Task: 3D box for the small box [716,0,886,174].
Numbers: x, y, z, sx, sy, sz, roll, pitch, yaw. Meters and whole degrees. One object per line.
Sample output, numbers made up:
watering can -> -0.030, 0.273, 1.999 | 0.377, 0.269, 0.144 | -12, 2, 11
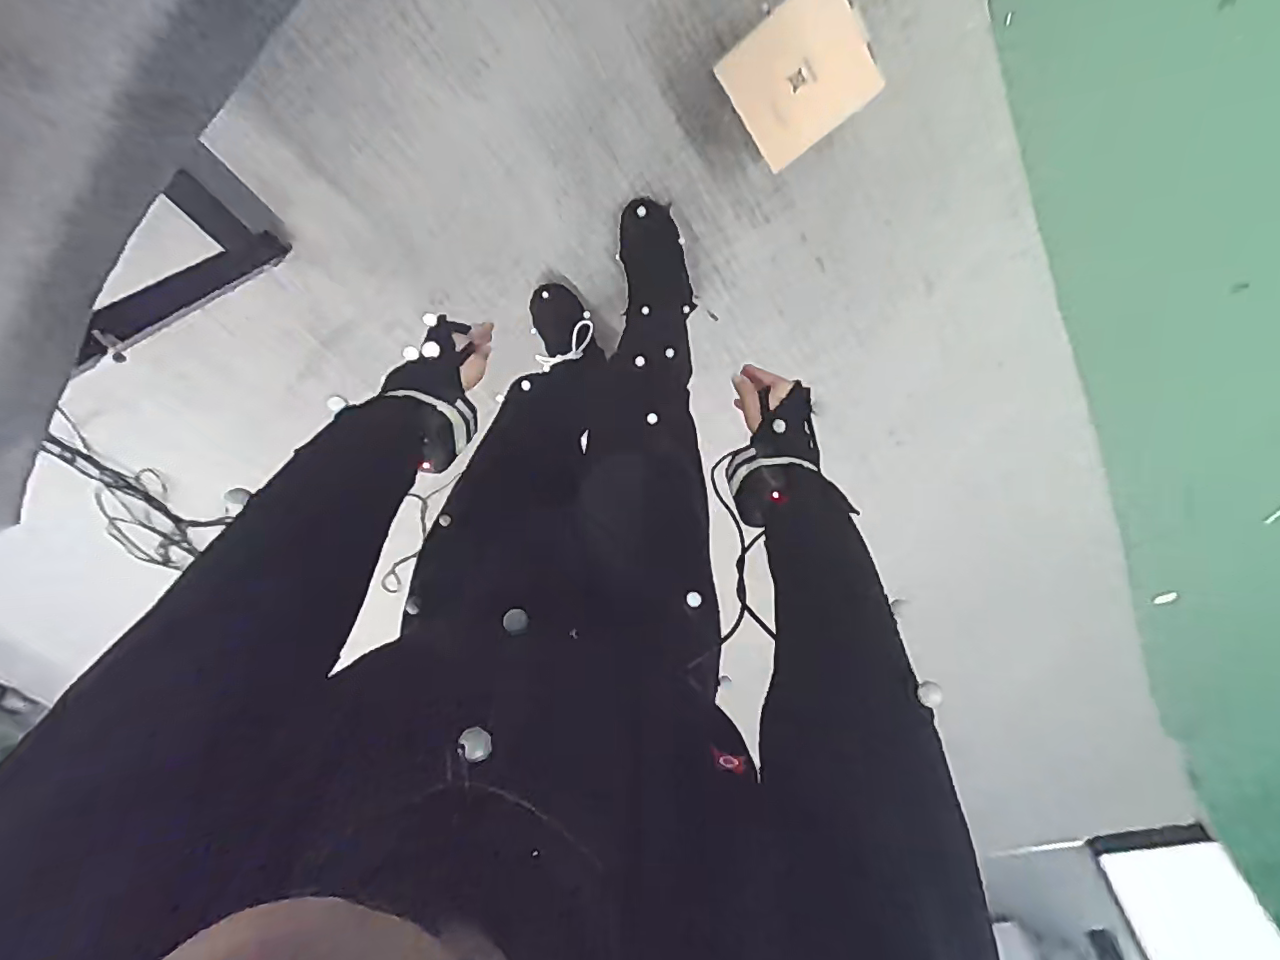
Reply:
small box -> 0.225, -0.595, 0.794 | 0.179, 0.176, 0.168 | -29, 120, 26
